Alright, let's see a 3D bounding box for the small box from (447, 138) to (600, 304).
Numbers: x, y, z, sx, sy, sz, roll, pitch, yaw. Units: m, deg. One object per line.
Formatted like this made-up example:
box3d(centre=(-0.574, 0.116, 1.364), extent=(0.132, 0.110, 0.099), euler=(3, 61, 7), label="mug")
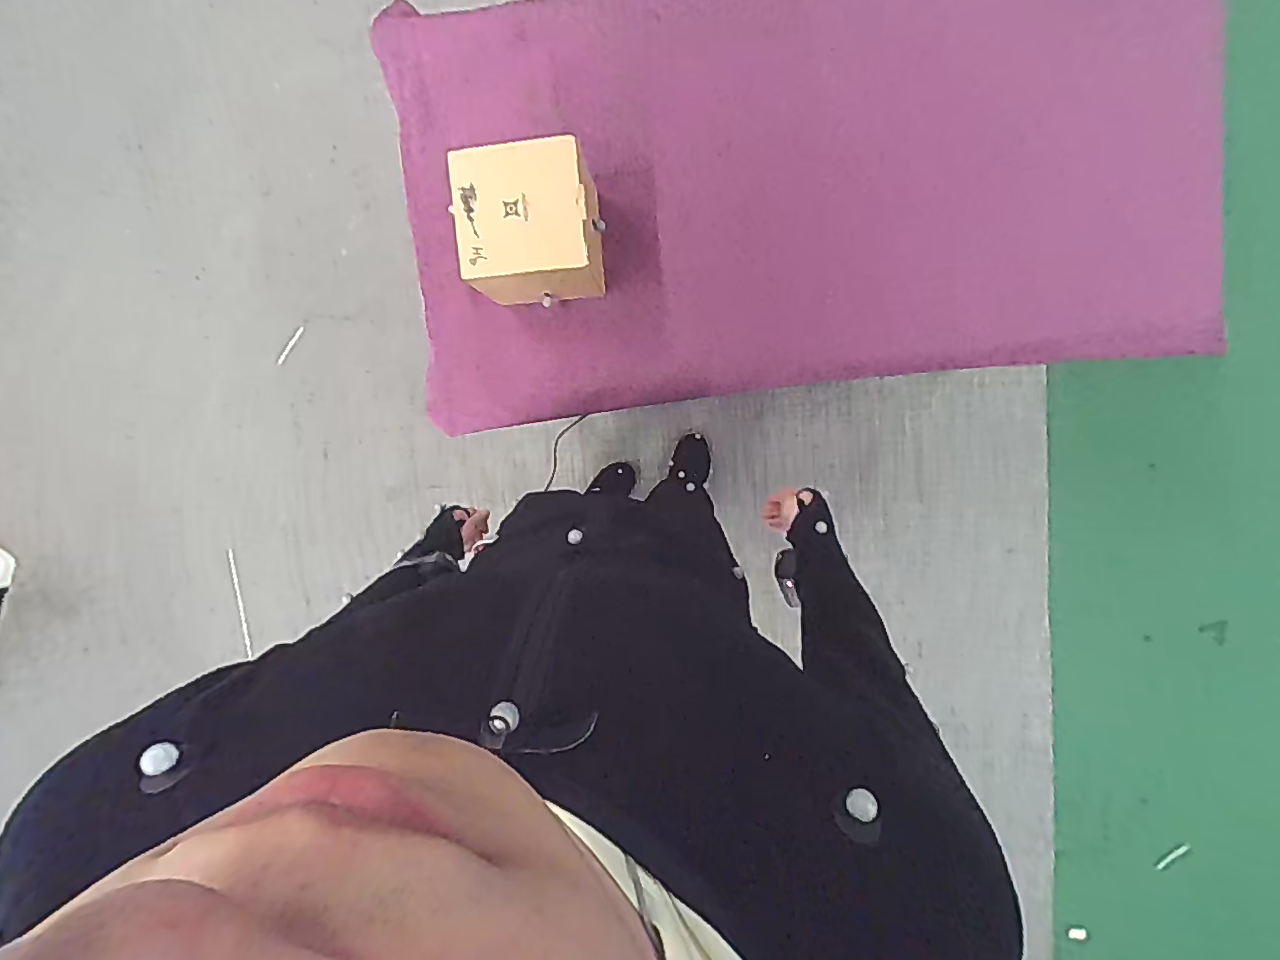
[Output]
box3d(centre=(-0.154, -0.360, 0.781), extent=(0.179, 0.176, 0.168), euler=(-4, 96, 4), label="small box")
